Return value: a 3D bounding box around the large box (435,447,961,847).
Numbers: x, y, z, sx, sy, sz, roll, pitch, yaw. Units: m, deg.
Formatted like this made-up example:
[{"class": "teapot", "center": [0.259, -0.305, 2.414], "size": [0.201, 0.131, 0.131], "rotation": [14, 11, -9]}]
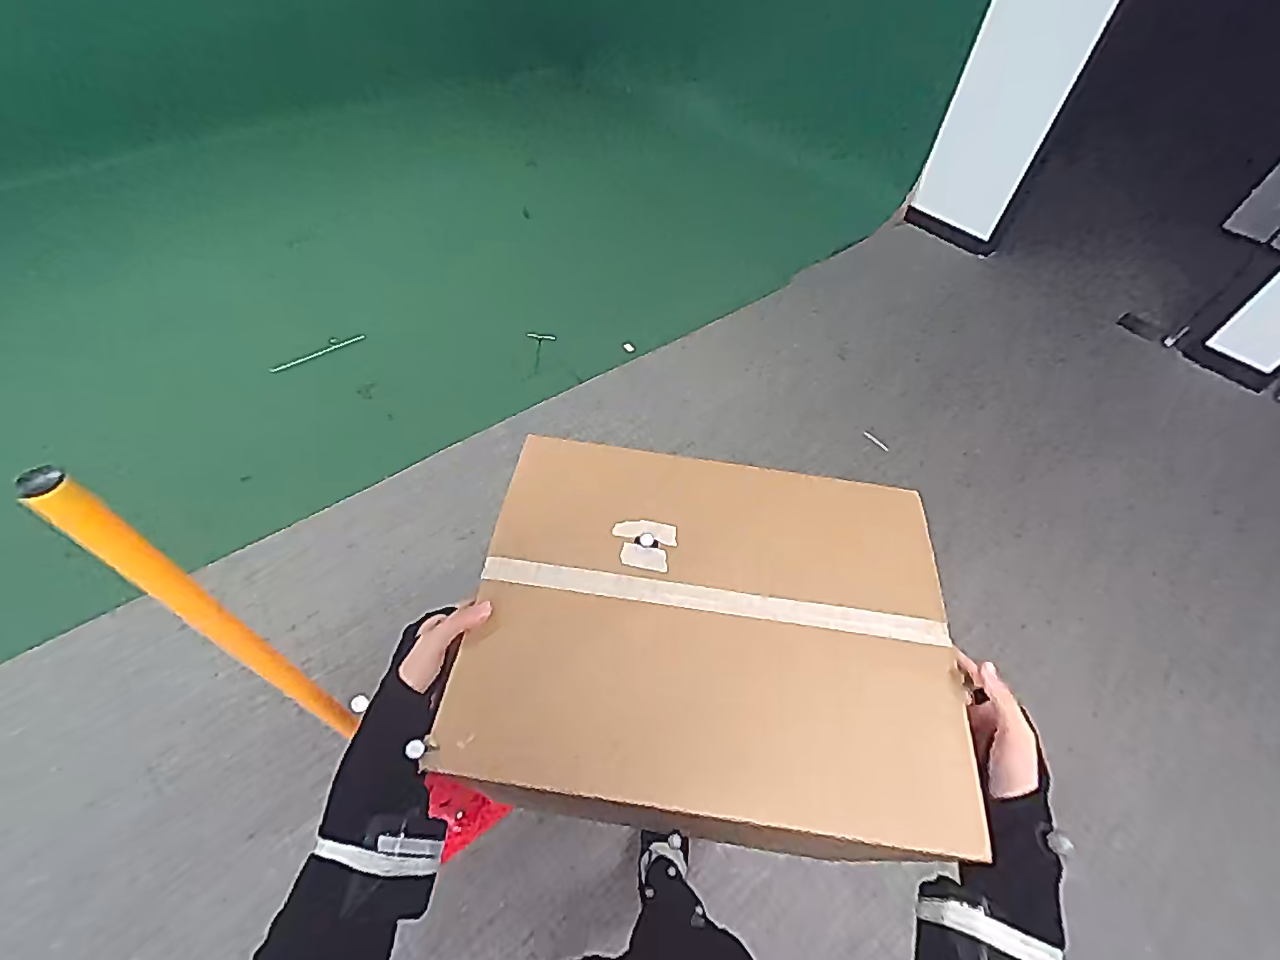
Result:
[{"class": "large box", "center": [0.055, 0.197, 0.606], "size": [0.408, 0.320, 0.320], "rotation": [8, 55, 2]}]
